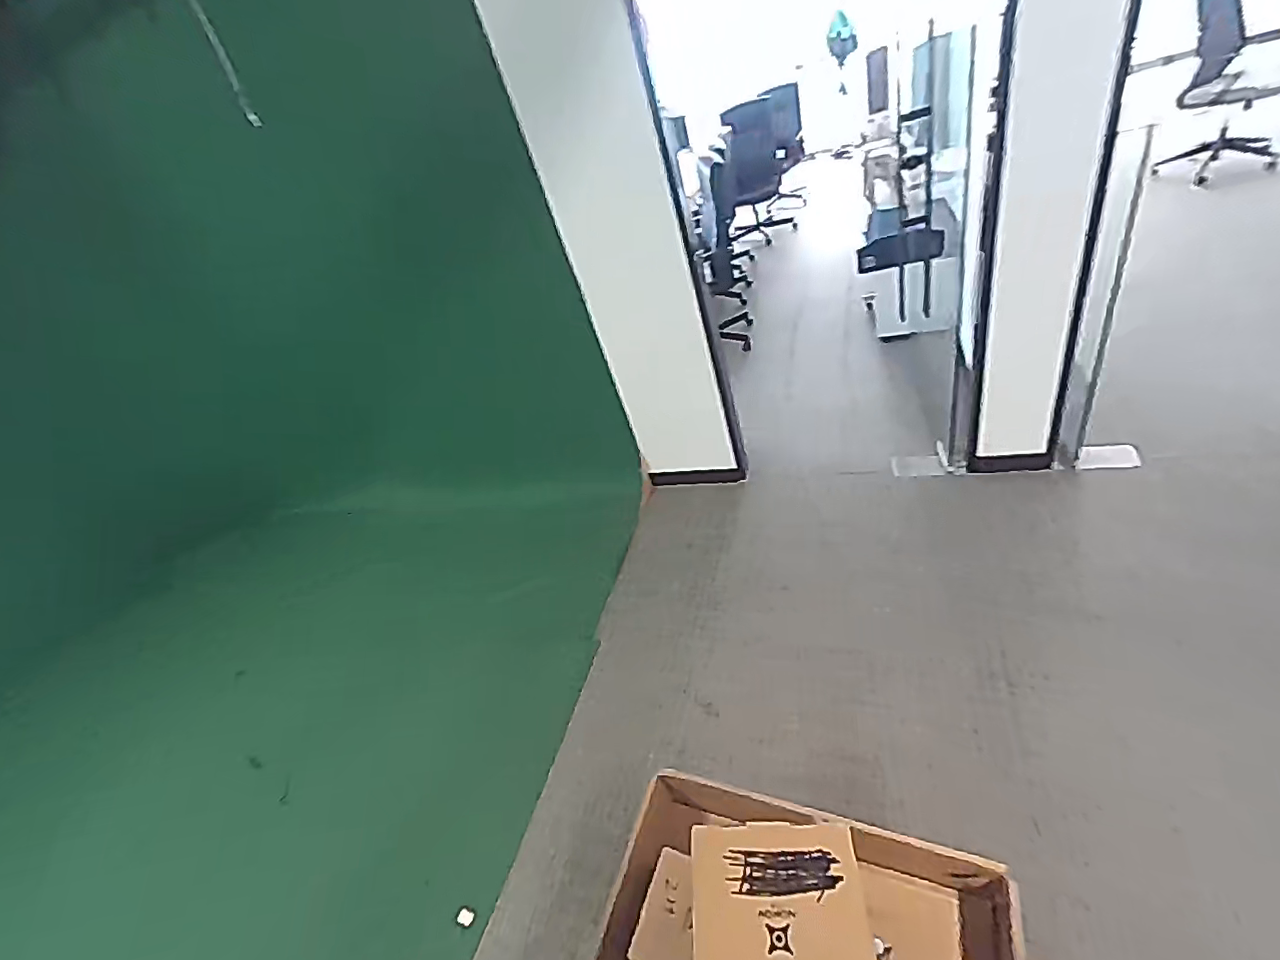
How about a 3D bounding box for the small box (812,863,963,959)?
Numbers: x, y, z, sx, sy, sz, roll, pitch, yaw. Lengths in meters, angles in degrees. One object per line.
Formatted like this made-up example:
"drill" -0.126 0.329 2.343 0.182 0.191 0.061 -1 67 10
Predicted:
"small box" 0.319 0.647 0.697 0.168 0.176 0.179 2 41 28
